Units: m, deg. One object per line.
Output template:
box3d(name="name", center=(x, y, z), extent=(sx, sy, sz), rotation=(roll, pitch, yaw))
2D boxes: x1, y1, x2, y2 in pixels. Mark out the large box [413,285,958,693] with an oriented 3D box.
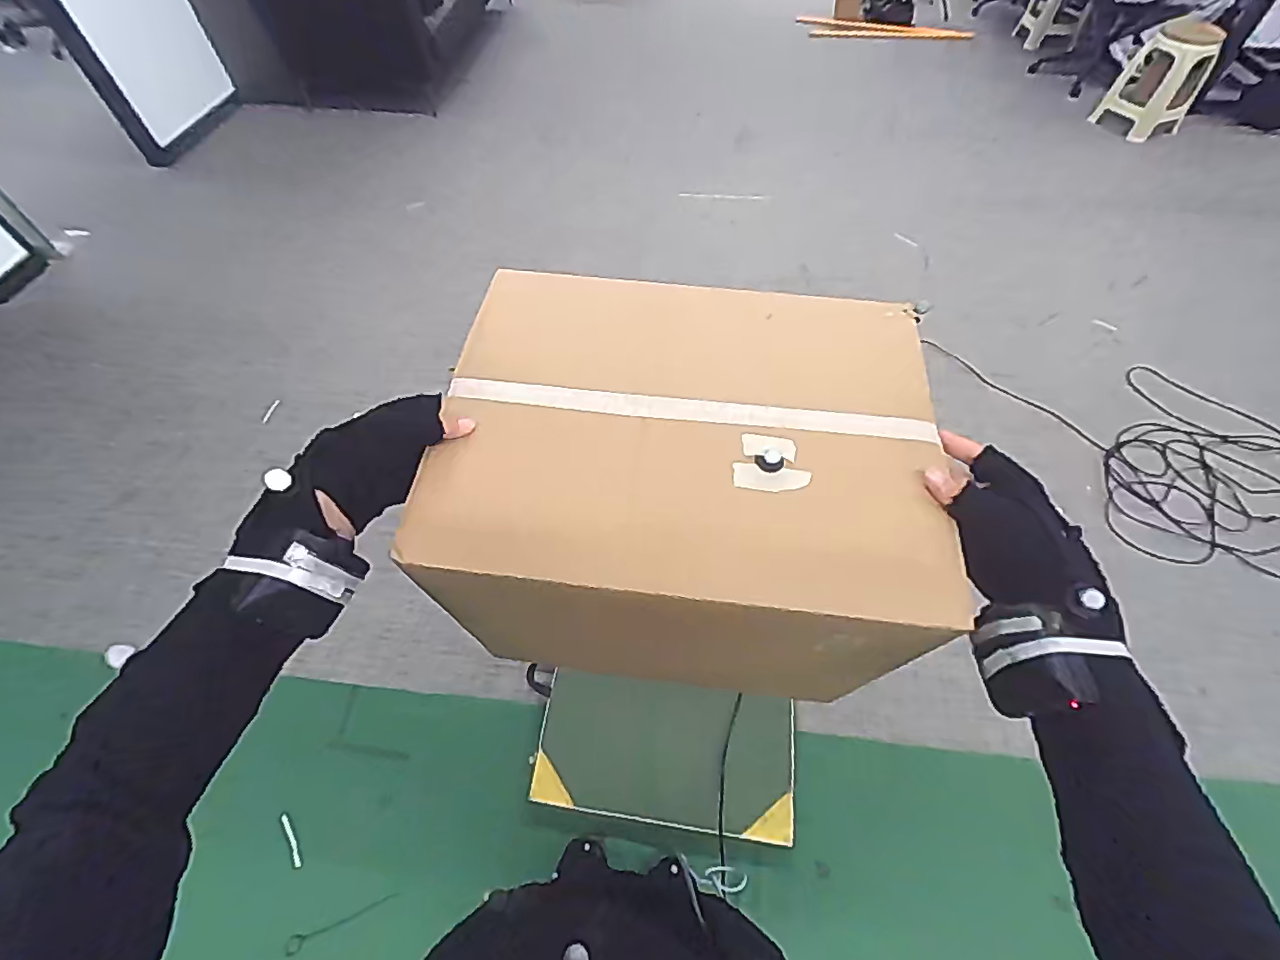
box3d(name="large box", center=(0.040, 0.026, 0.590), extent=(0.408, 0.320, 0.320), rotation=(6, 60, 2))
